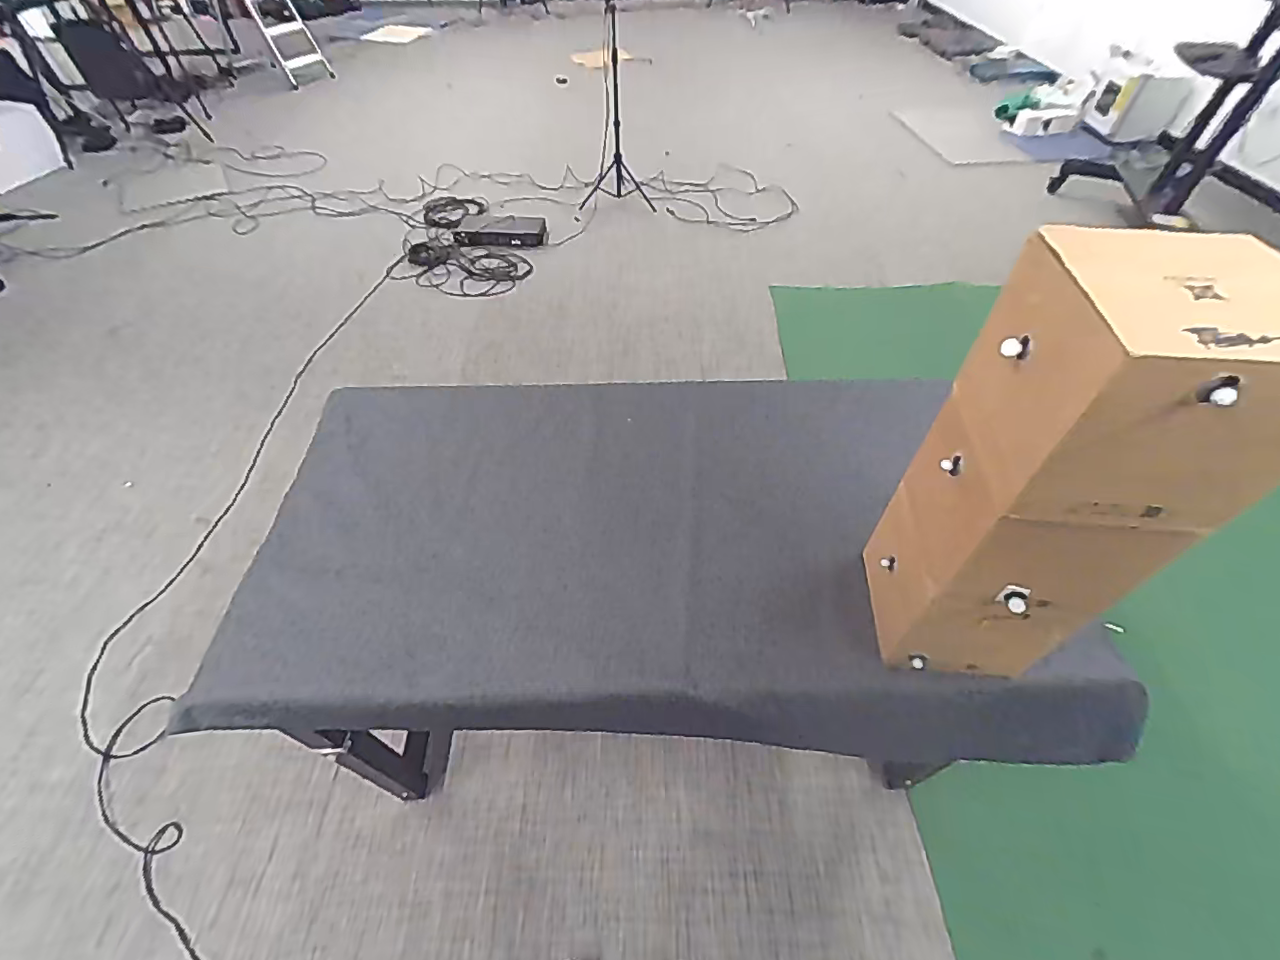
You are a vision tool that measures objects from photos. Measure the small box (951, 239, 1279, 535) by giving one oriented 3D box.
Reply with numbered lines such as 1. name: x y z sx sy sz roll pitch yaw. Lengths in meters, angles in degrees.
1. small box: 0.391 -0.078 0.452 0.168 0.176 0.179 5 48 6

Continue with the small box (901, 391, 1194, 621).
1. small box: 0.400 0.027 0.578 0.168 0.176 0.179 4 50 6

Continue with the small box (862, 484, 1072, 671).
1. small box: 0.404 0.130 0.702 0.168 0.176 0.179 5 48 5
